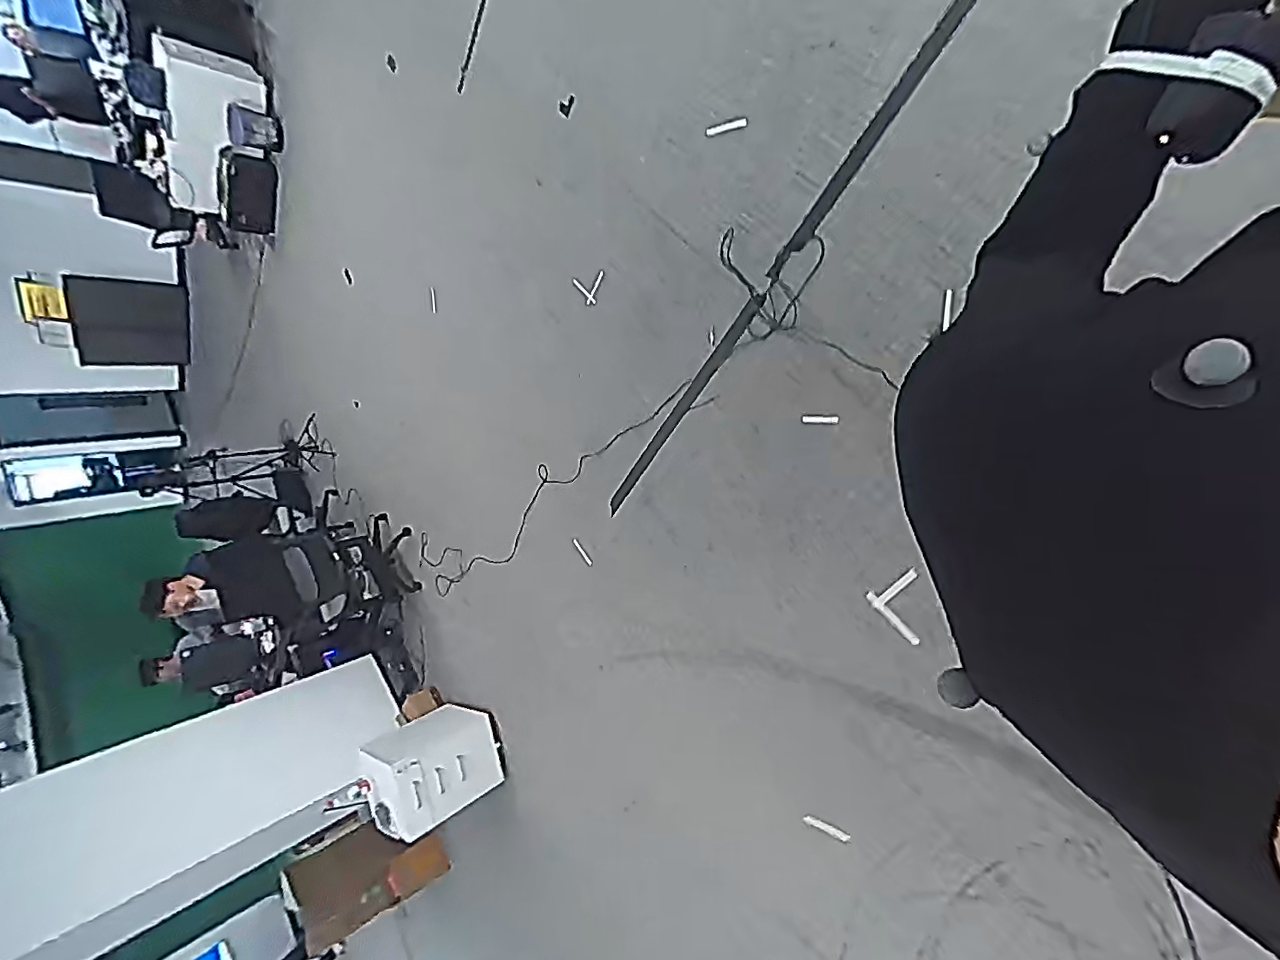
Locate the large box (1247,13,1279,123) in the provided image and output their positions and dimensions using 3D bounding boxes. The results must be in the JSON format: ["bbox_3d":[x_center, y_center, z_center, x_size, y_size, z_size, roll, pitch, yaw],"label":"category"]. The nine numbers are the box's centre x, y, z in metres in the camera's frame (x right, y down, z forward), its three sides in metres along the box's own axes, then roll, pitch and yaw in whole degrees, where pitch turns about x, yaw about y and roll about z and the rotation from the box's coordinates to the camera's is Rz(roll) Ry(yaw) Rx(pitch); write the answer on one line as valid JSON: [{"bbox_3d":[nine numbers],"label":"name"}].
[{"bbox_3d":[0.634,-0.354,0.230,0.408,0.320,0.320,34,125,34],"label":"large box"}]
